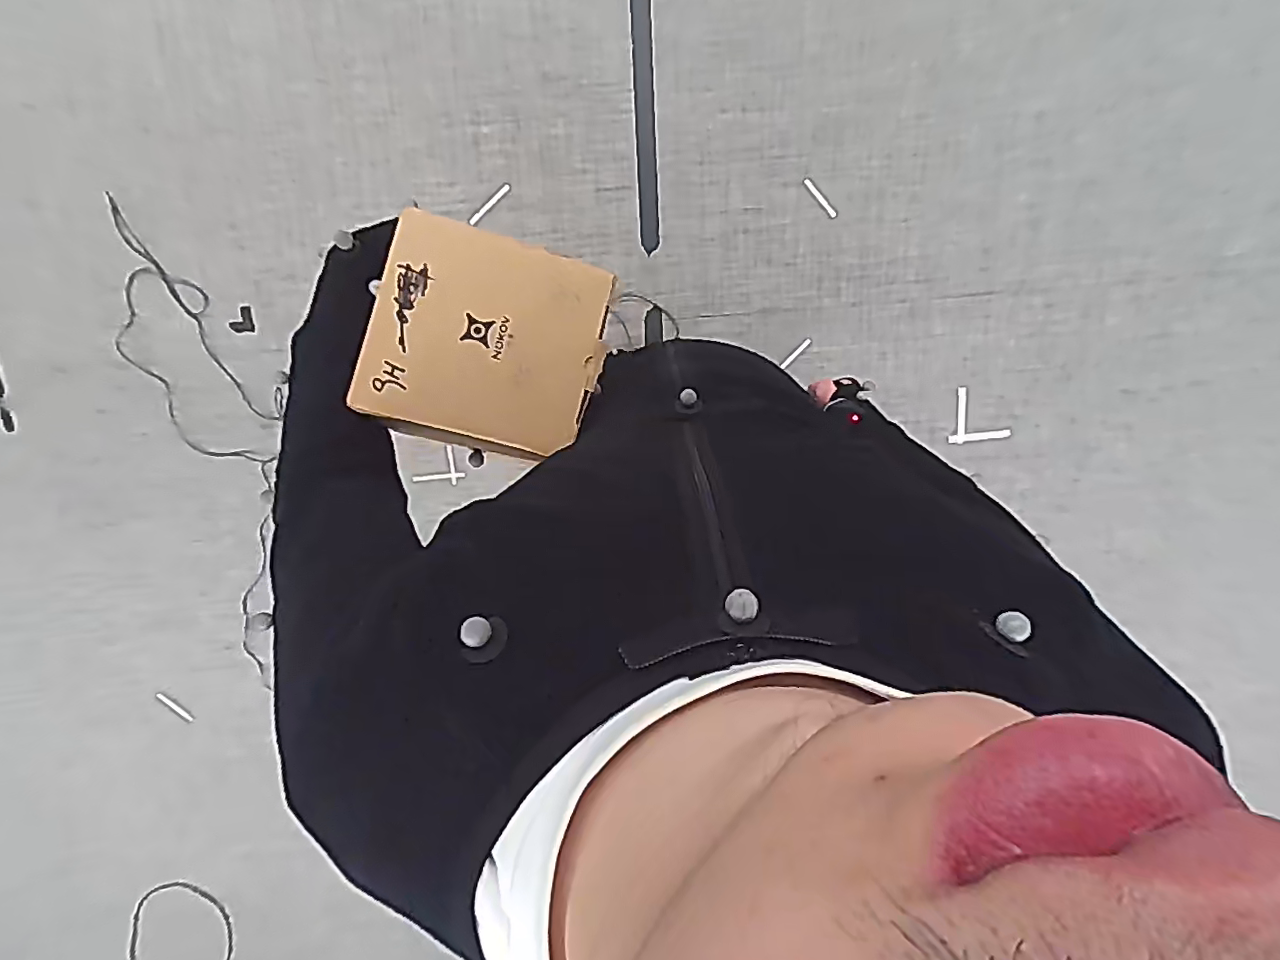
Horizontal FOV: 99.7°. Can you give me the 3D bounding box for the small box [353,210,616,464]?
[{"bbox_3d":[-0.137,-0.113,0.515,0.179,0.176,0.168,14,85,-11],"label":"small box"}]
